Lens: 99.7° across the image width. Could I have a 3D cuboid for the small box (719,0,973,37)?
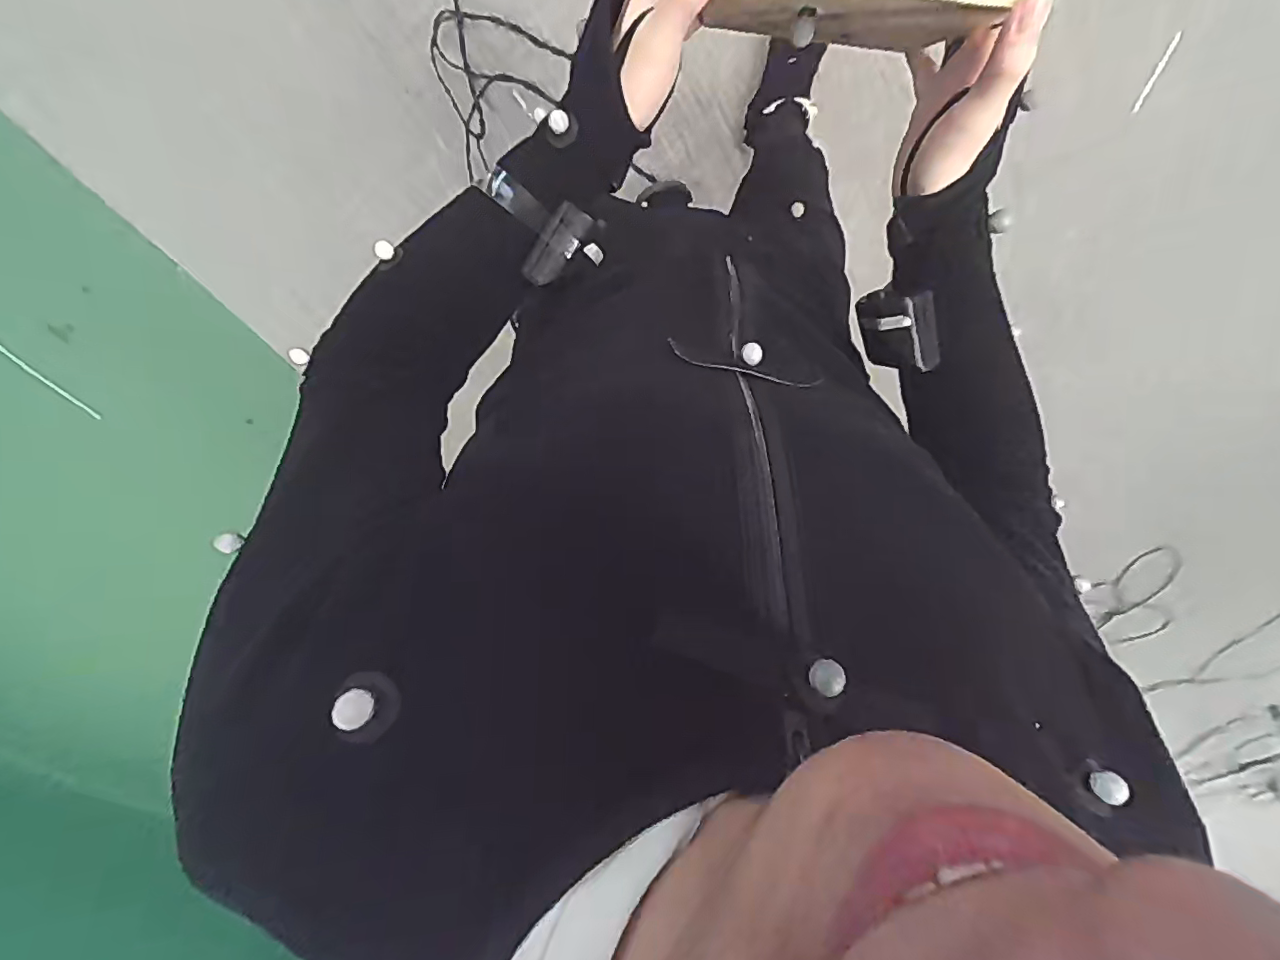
[{"bbox_3d":[0.133,-0.369,0.293,0.168,0.176,0.179,6,121,0],"label":"small box"}]
